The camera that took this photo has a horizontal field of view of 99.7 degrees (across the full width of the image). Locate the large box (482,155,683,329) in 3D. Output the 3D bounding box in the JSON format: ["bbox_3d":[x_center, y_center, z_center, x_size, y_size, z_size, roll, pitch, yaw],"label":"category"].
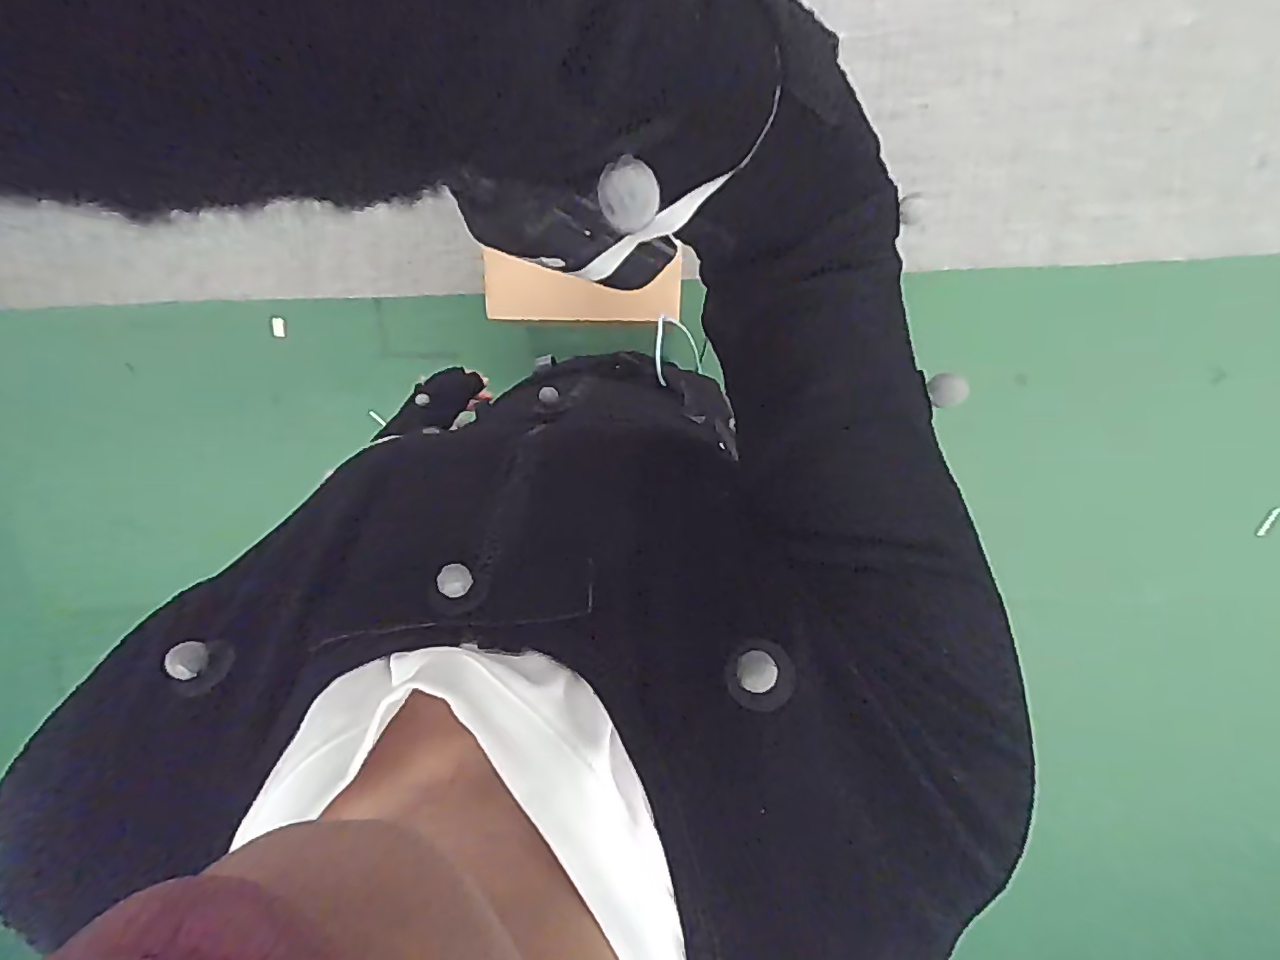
[{"bbox_3d":[-0.113,-0.517,1.236,0.408,0.320,0.320,1,103,1],"label":"large box"}]
